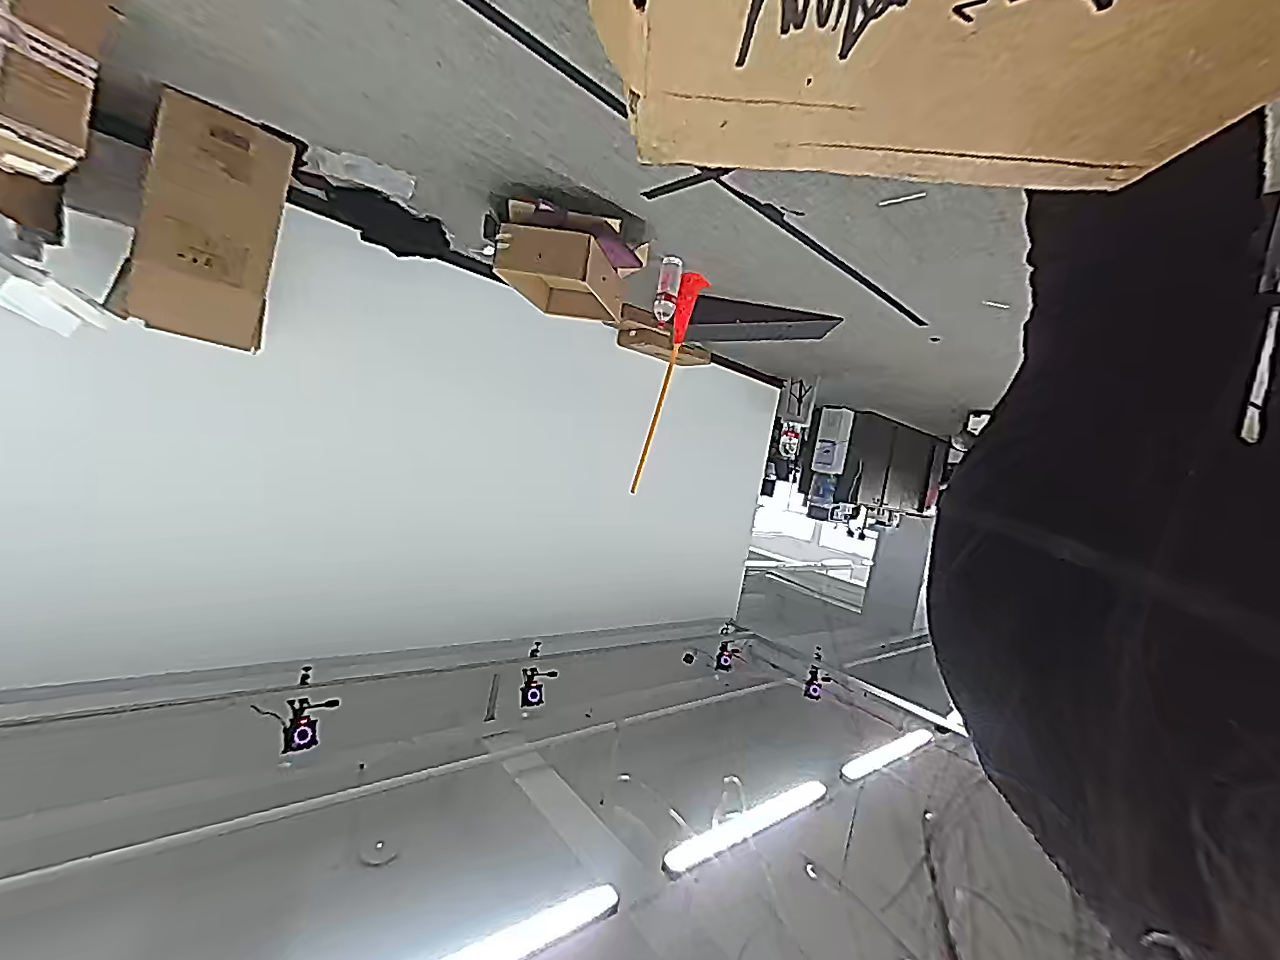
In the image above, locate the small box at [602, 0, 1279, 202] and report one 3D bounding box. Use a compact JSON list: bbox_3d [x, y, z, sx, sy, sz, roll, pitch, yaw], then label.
[{"bbox_3d":[0.086,-0.186,0.104,0.179,0.176,0.168,4,180,-2],"label":"small box"}]
